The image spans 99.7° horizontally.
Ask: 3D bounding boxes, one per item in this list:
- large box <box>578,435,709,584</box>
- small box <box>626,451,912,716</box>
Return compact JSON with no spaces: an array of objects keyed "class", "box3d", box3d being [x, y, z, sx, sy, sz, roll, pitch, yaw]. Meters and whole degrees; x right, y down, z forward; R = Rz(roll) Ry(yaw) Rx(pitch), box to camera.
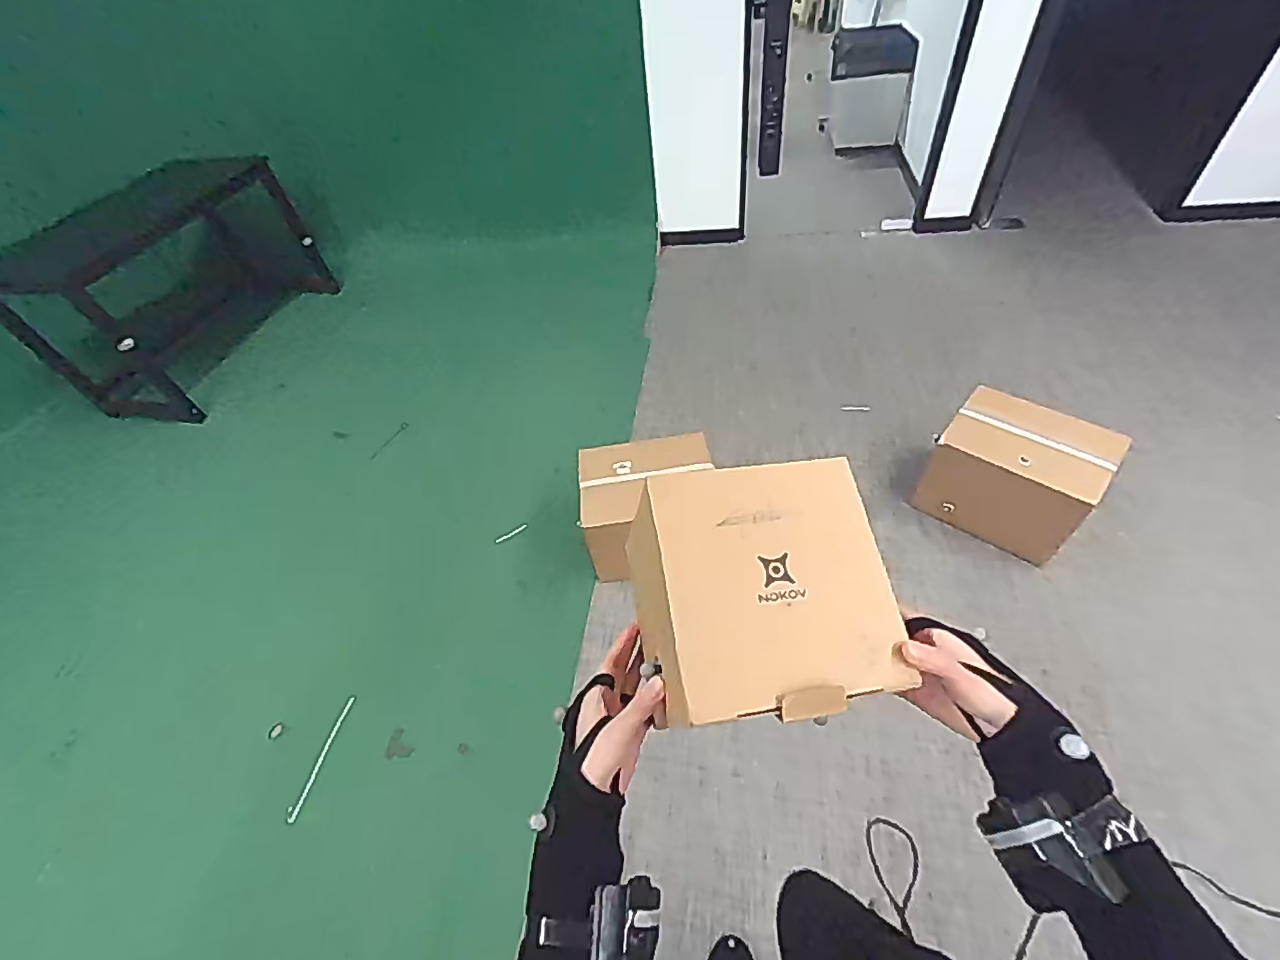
[{"class":"large box","box3d":[0.037,0.099,1.717,0.408,0.320,0.320,-9,47,2]},{"class":"small box","box3d":[0.084,0.094,0.455,0.168,0.176,0.179,-5,66,-10]}]
